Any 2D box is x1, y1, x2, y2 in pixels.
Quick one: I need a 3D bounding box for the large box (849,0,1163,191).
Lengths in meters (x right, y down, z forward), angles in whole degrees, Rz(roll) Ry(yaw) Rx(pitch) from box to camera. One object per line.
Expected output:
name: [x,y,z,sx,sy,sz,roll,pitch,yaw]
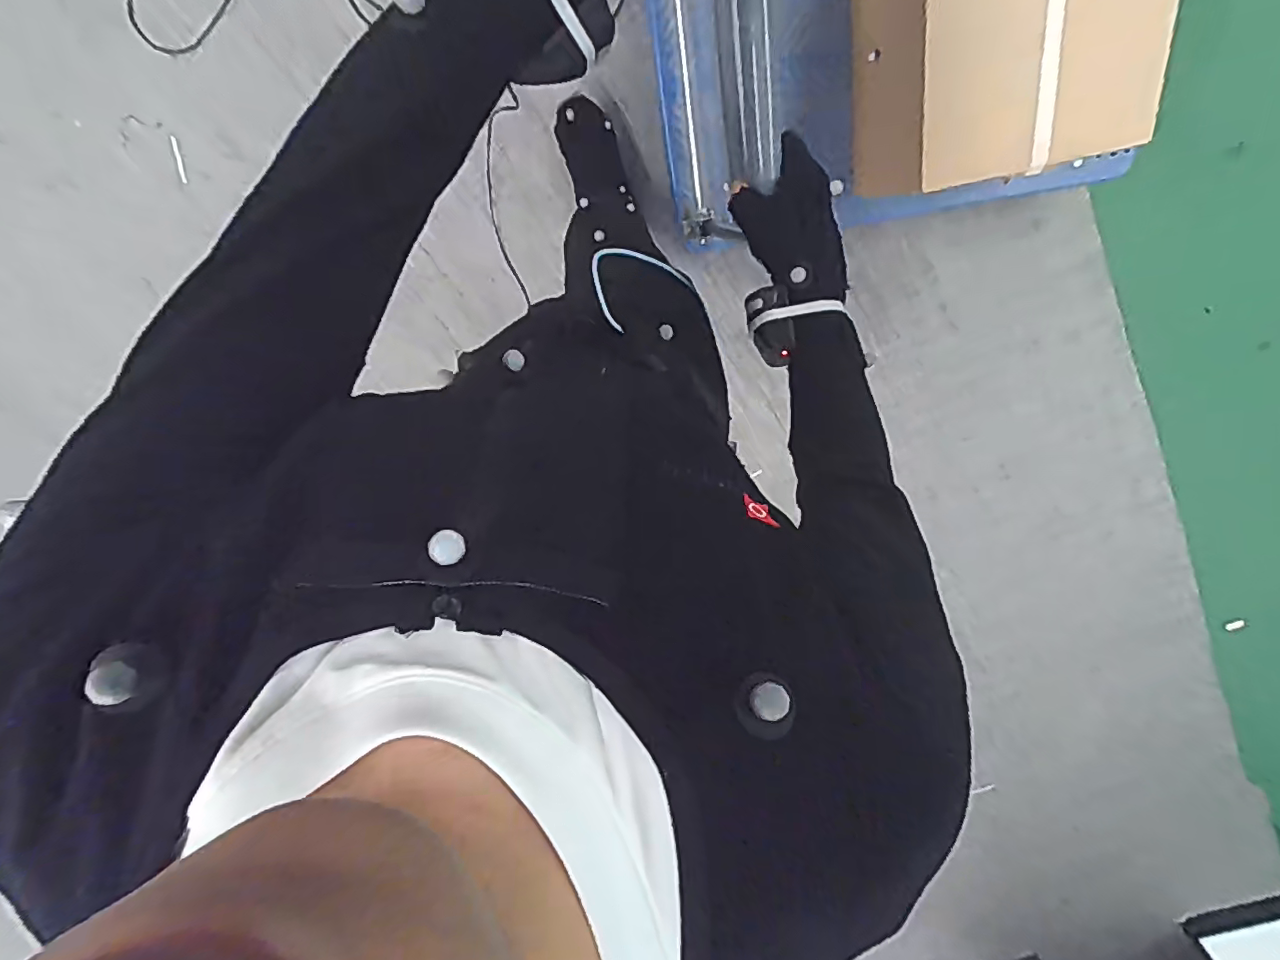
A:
large box: [0.522,-0.699,0.828,0.320,0.320,0.408,-10,116,6]
